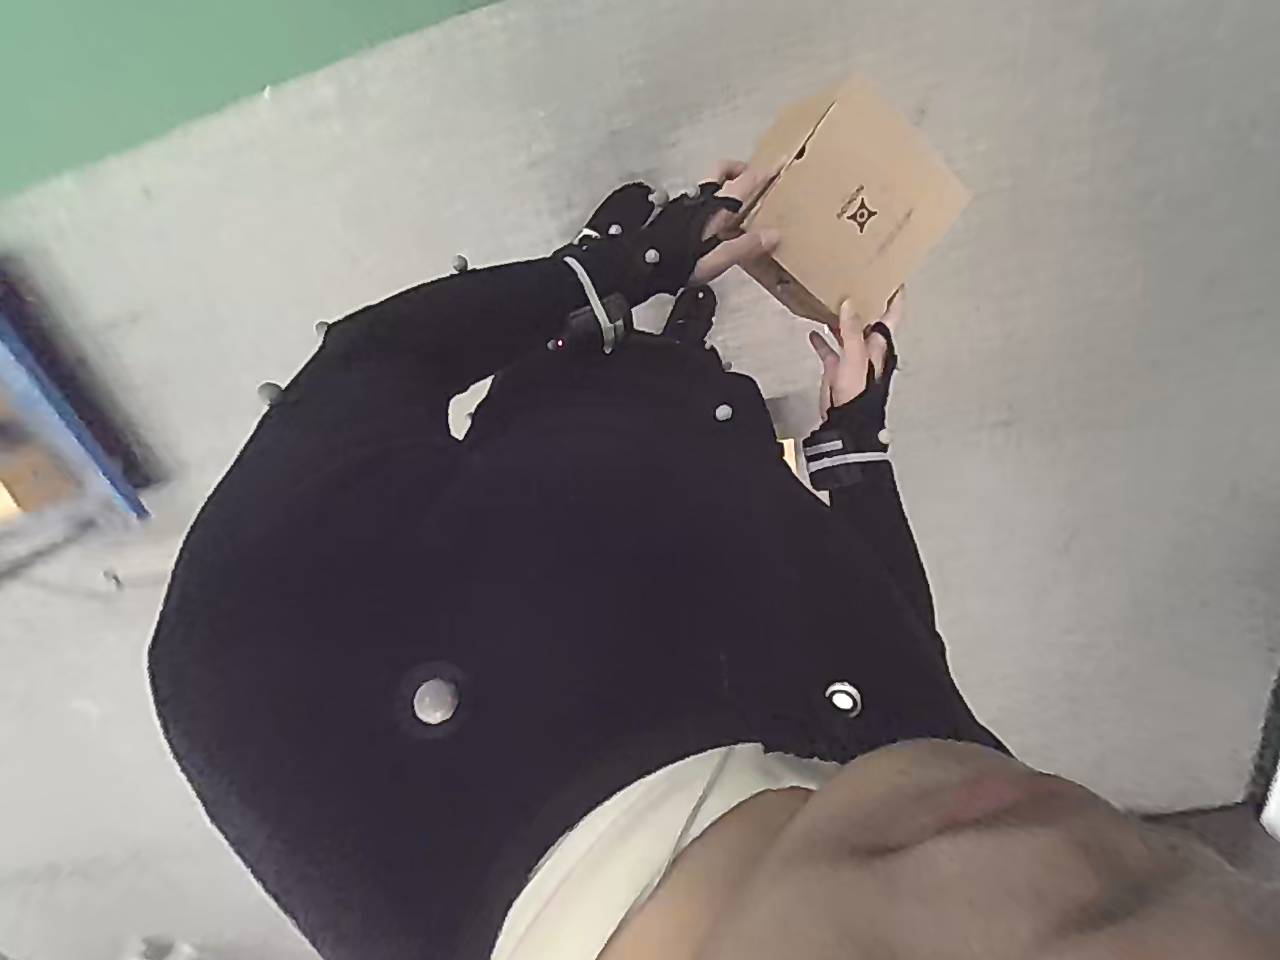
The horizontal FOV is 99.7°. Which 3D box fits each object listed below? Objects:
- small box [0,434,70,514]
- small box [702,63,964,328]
[{"bbox_3d":[-1.754,-0.009,1.491,0.179,0.176,0.168,-15,114,8],"label":"small box"},{"bbox_3d":[0.193,-0.293,0.593,0.179,0.176,0.168,31,106,-21],"label":"small box"}]
